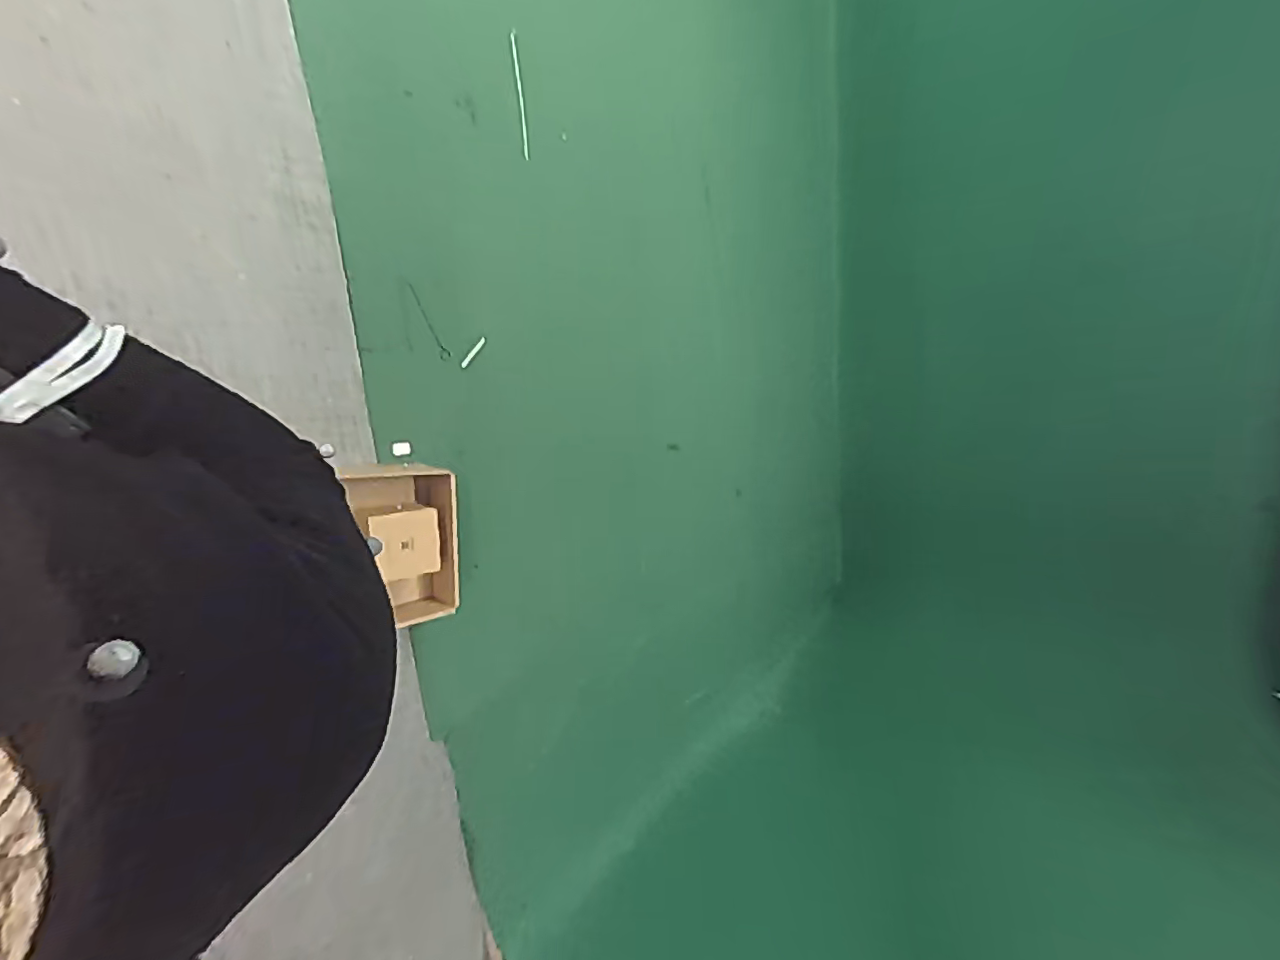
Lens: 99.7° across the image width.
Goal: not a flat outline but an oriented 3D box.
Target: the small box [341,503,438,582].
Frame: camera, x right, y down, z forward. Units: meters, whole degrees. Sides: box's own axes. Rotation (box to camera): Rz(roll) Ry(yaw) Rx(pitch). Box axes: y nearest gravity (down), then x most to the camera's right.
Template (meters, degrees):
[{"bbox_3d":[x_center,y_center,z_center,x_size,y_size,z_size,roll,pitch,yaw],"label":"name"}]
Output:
[{"bbox_3d":[-0.650,0.154,1.406,0.179,0.176,0.168,-7,98,-47],"label":"small box"}]
